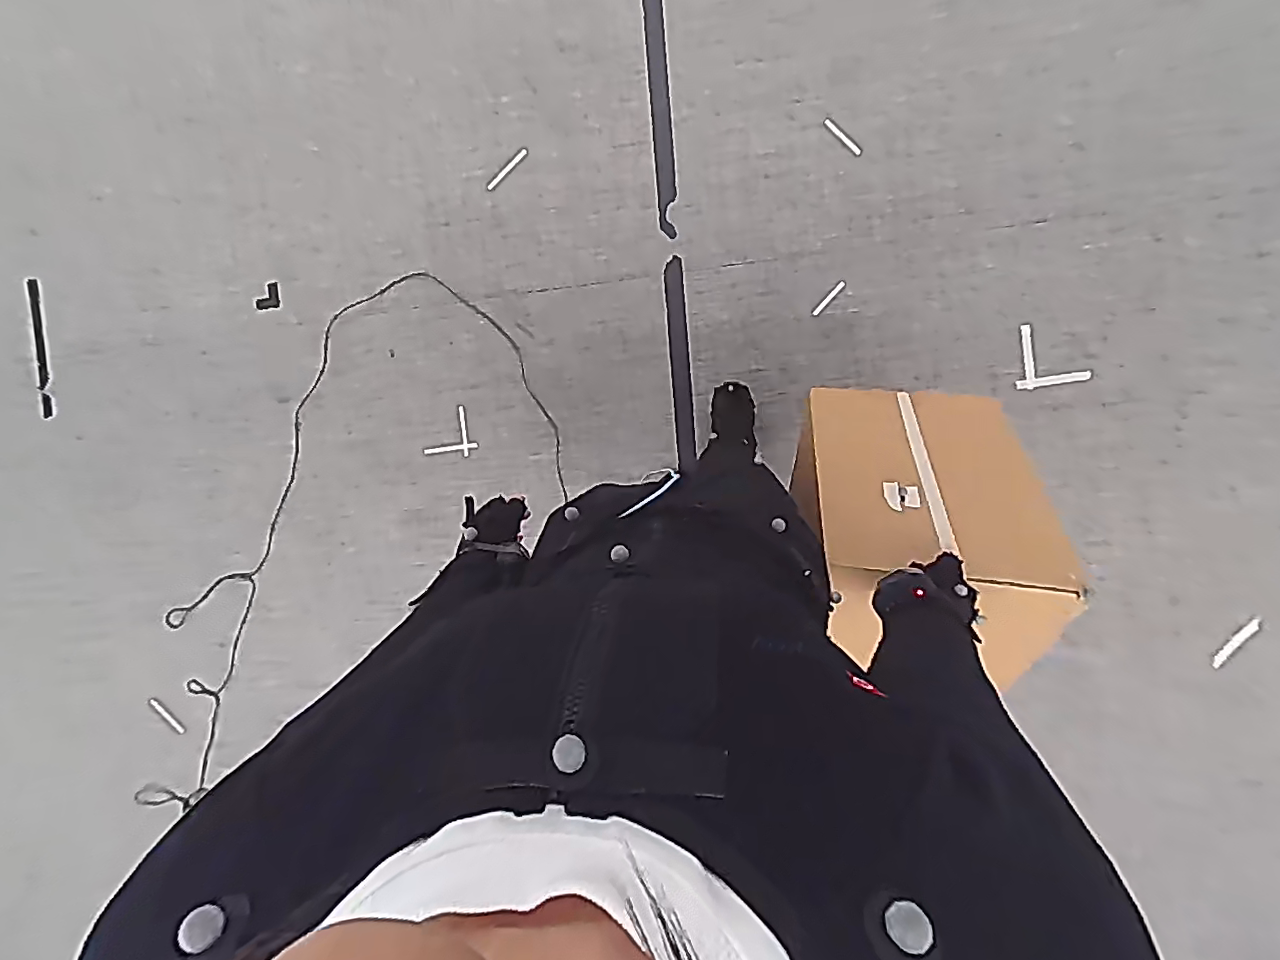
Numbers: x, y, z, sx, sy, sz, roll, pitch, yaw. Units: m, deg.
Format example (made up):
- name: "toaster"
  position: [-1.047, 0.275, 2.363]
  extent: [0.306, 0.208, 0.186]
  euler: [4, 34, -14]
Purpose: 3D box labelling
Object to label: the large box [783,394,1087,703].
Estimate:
- name: "large box"
  position: [0.429, 0.101, 0.919]
  extent: [0.320, 0.408, 0.320]
  euler: [5, 135, 9]
